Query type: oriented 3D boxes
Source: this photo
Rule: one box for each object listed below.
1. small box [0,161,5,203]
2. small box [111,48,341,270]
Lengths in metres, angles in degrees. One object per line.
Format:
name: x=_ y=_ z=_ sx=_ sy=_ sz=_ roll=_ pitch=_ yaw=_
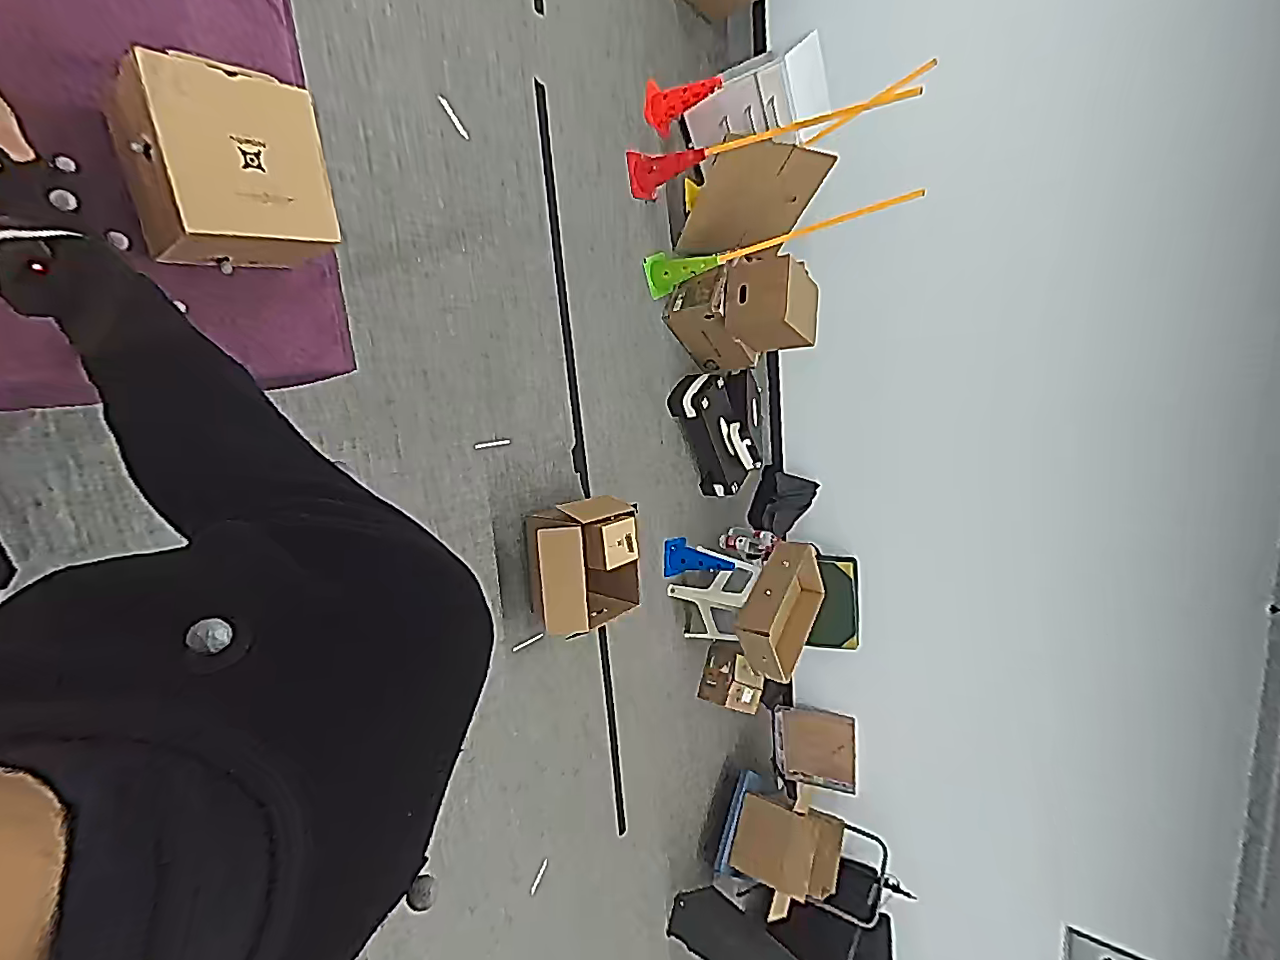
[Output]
small box: x=-0.679 y=-0.328 z=0.446 sx=0.168 sy=0.176 sz=0.179 roll=-25 pitch=112 yaw=-48
small box: x=-0.508 y=-0.372 z=0.667 sx=0.168 sy=0.176 sz=0.179 roll=-23 pitch=110 yaw=-48
